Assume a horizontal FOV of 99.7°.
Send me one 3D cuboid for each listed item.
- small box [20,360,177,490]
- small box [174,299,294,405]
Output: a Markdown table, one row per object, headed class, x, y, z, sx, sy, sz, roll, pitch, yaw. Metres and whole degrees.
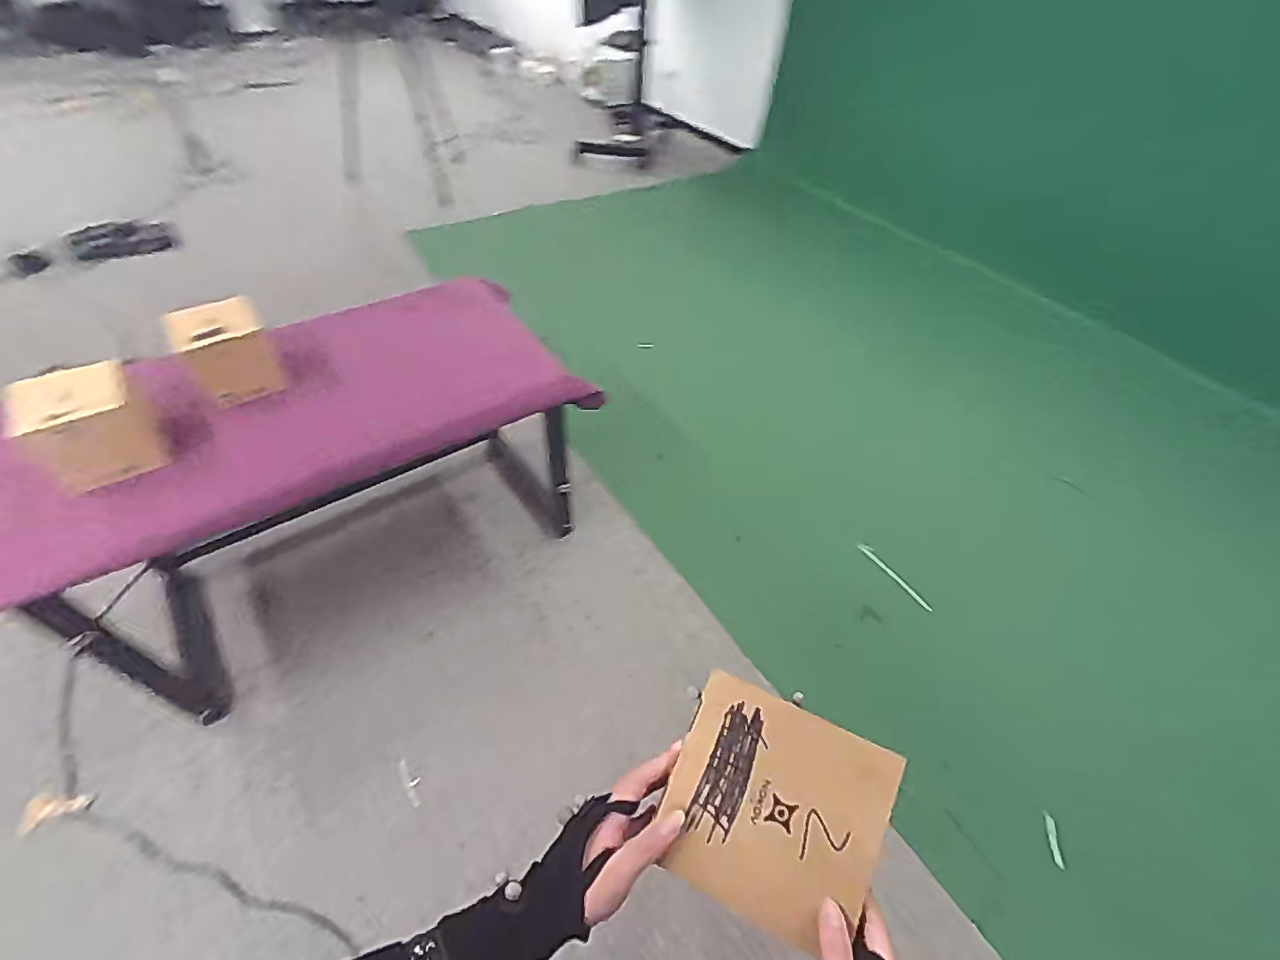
| class | x | y | z | sx | sy | sz | roll | pitch | yaw |
| --- | --- | --- | --- | --- | --- | --- | --- | --- | --- |
| small box | -1.101 | -0.112 | 1.112 | 0.168 | 0.176 | 0.179 | -26 | 55 | -24 |
| small box | -0.964 | -0.299 | 1.295 | 0.168 | 0.176 | 0.179 | -27 | 55 | -26 |
